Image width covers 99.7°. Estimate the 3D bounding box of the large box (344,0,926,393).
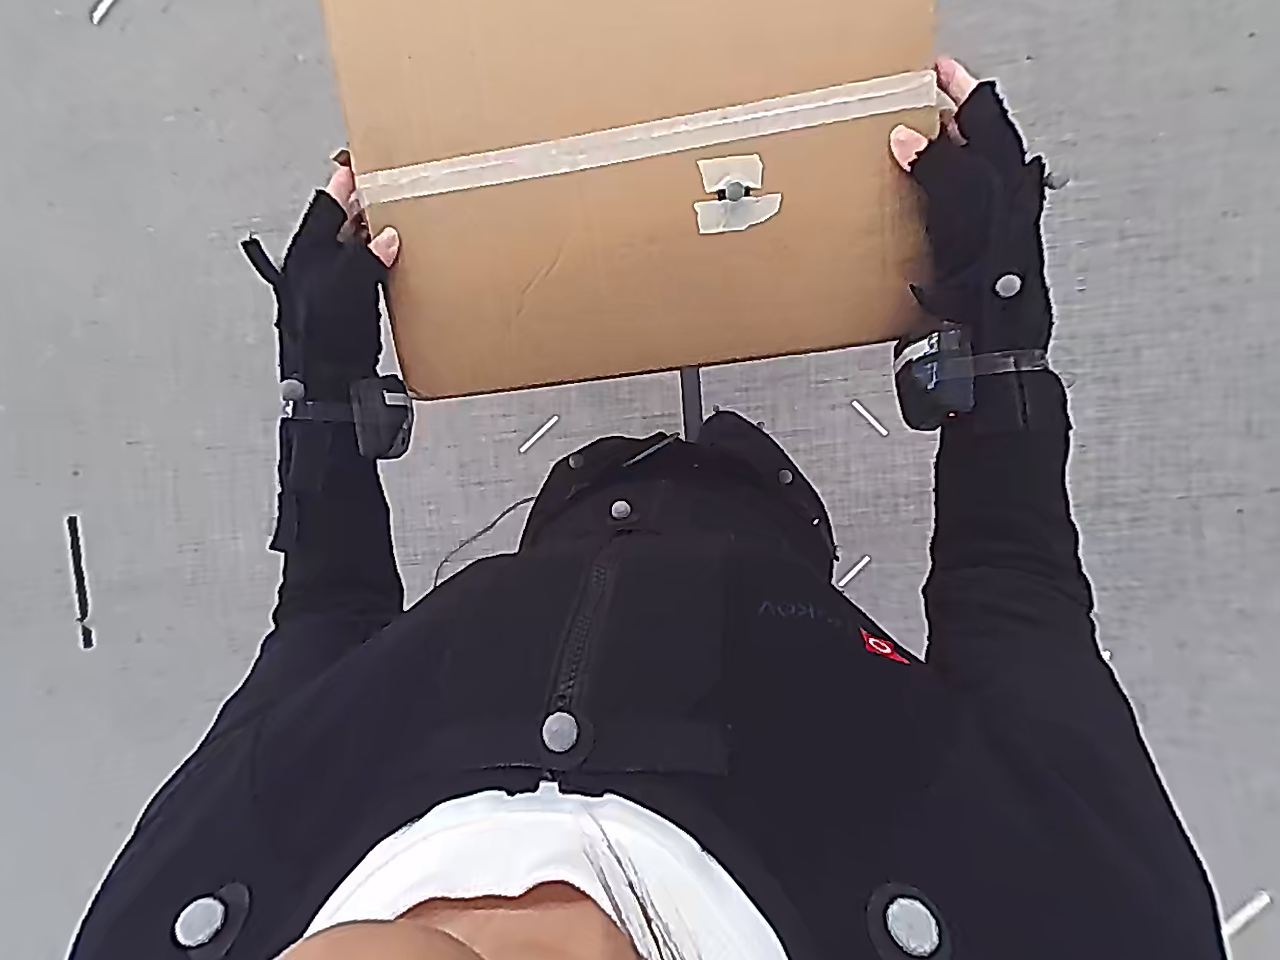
[{"bbox_3d":[0.009,-0.274,0.540,0.408,0.320,0.320,-6,102,6],"label":"large box"}]
